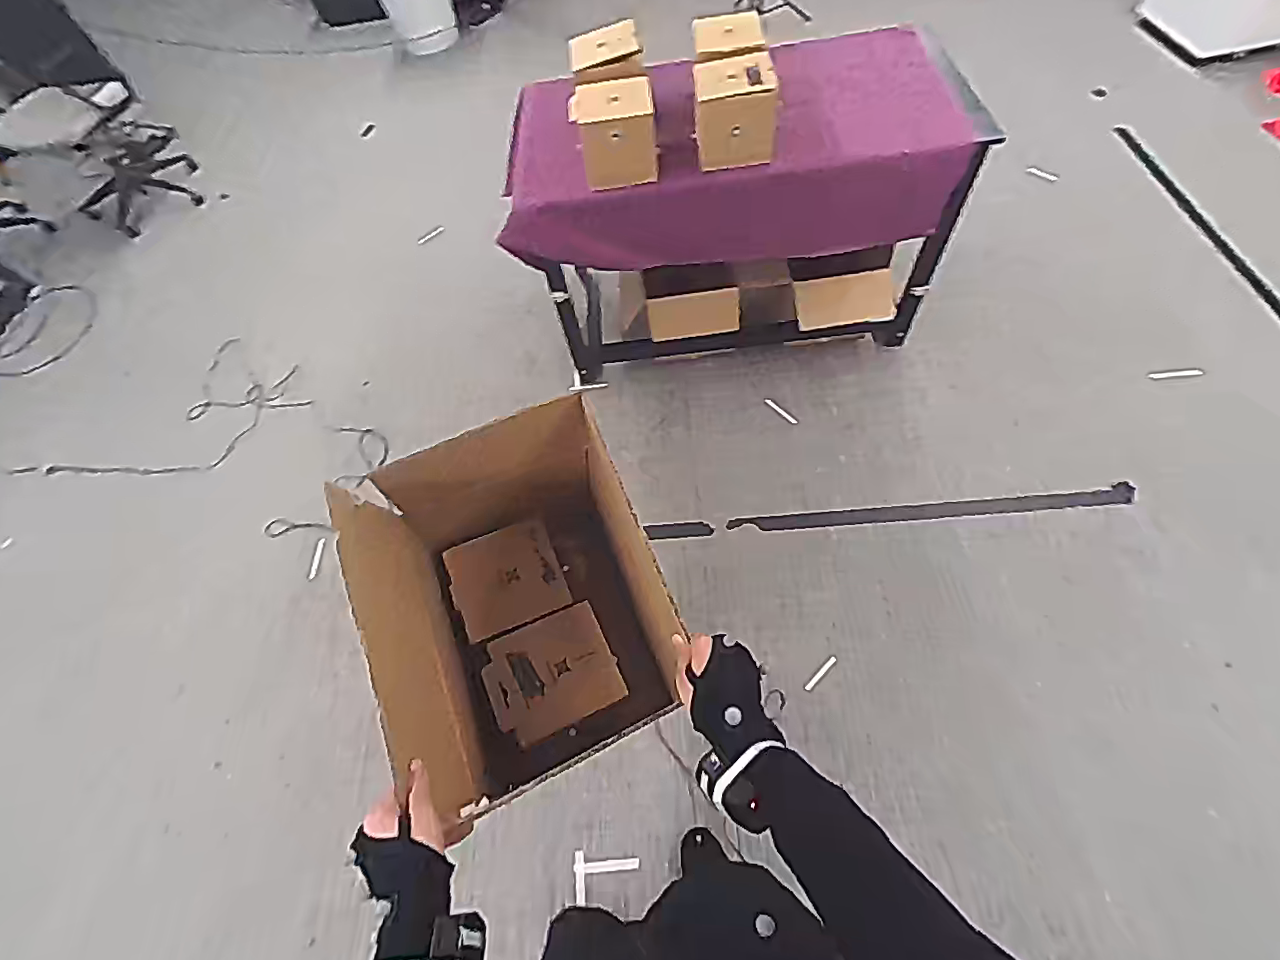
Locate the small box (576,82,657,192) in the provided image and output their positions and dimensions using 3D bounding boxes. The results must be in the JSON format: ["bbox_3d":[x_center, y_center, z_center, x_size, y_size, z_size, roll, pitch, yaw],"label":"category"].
[{"bbox_3d":[-0.056,-0.840,1.337,0.179,0.176,0.168,-6,61,3],"label":"small box"}]

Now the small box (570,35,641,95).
[{"bbox_3d":[-0.084,-1.049,1.455,0.179,0.176,0.168,-8,61,2],"label":"small box"}]
